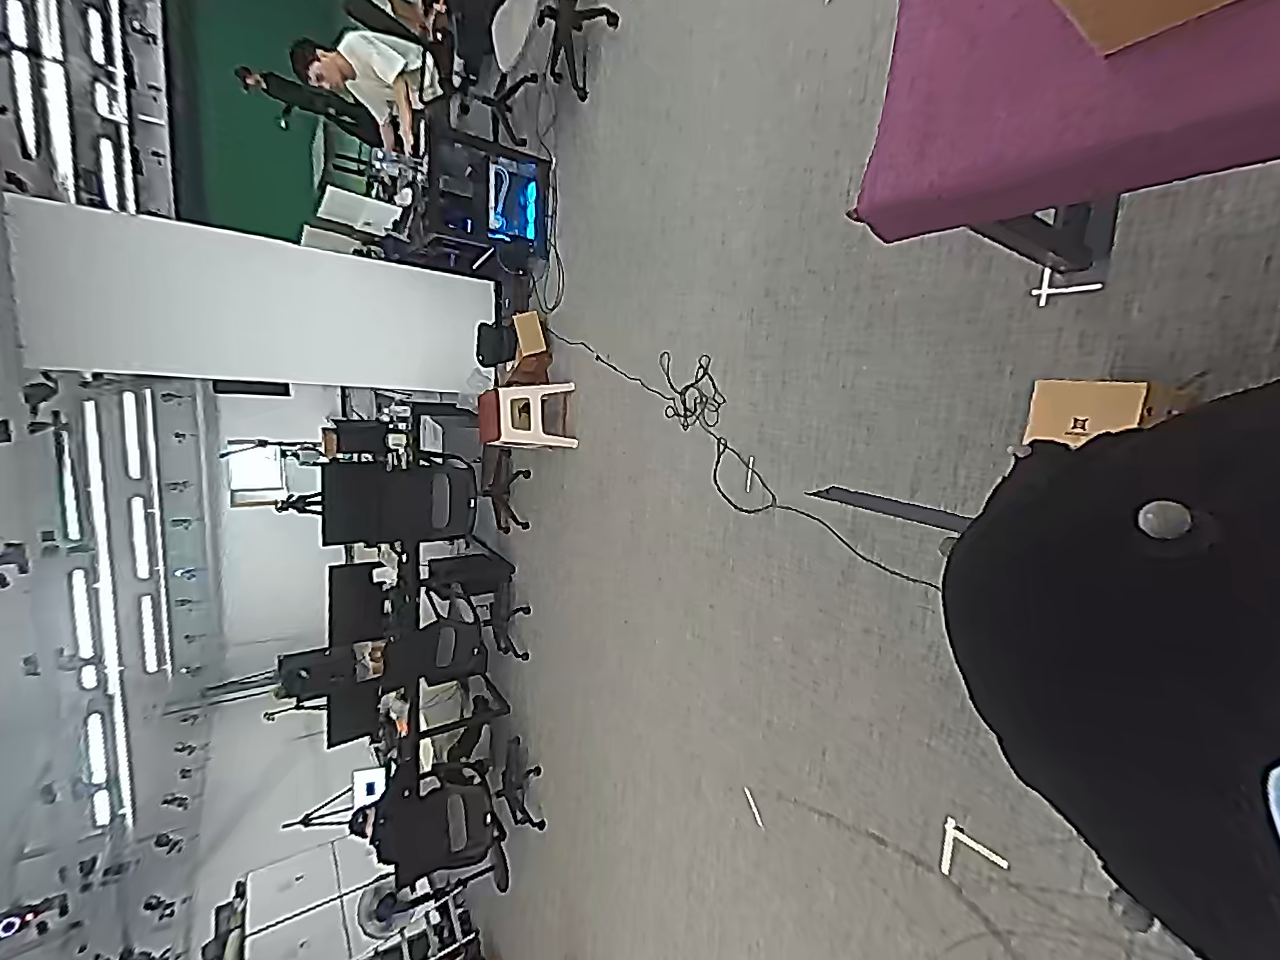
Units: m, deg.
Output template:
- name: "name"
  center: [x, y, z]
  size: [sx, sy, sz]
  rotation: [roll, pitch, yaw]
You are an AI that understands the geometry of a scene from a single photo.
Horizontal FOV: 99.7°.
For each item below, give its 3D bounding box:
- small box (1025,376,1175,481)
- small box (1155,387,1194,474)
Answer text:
- name: "small box"
  center: [0.871, -0.101, 1.023]
  size: [0.168, 0.176, 0.179]
  rotation: [18, 108, 53]
- name: "small box"
  center: [1.001, -0.113, 1.124]
  size: [0.168, 0.176, 0.179]
  rotation: [26, 113, 51]
